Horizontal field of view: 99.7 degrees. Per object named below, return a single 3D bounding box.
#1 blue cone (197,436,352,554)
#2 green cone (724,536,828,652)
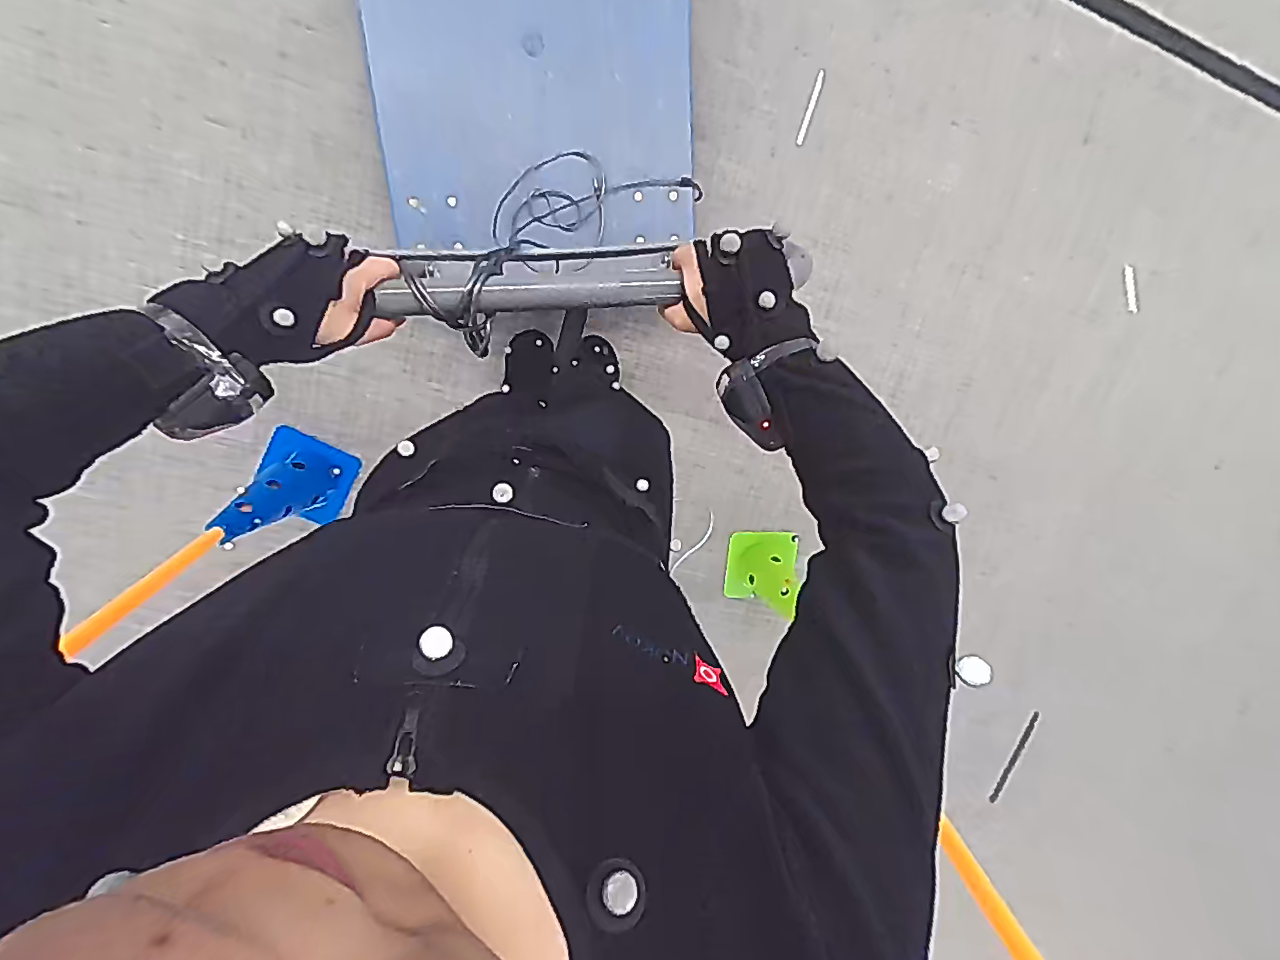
[{"bbox_3d":[-0.772,0.050,1.114,0.193,0.380,0.192,29,101,-15],"label":"blue cone"},{"bbox_3d":[0.361,0.298,1.338,0.200,0.368,0.202,1,107,-8],"label":"green cone"}]
